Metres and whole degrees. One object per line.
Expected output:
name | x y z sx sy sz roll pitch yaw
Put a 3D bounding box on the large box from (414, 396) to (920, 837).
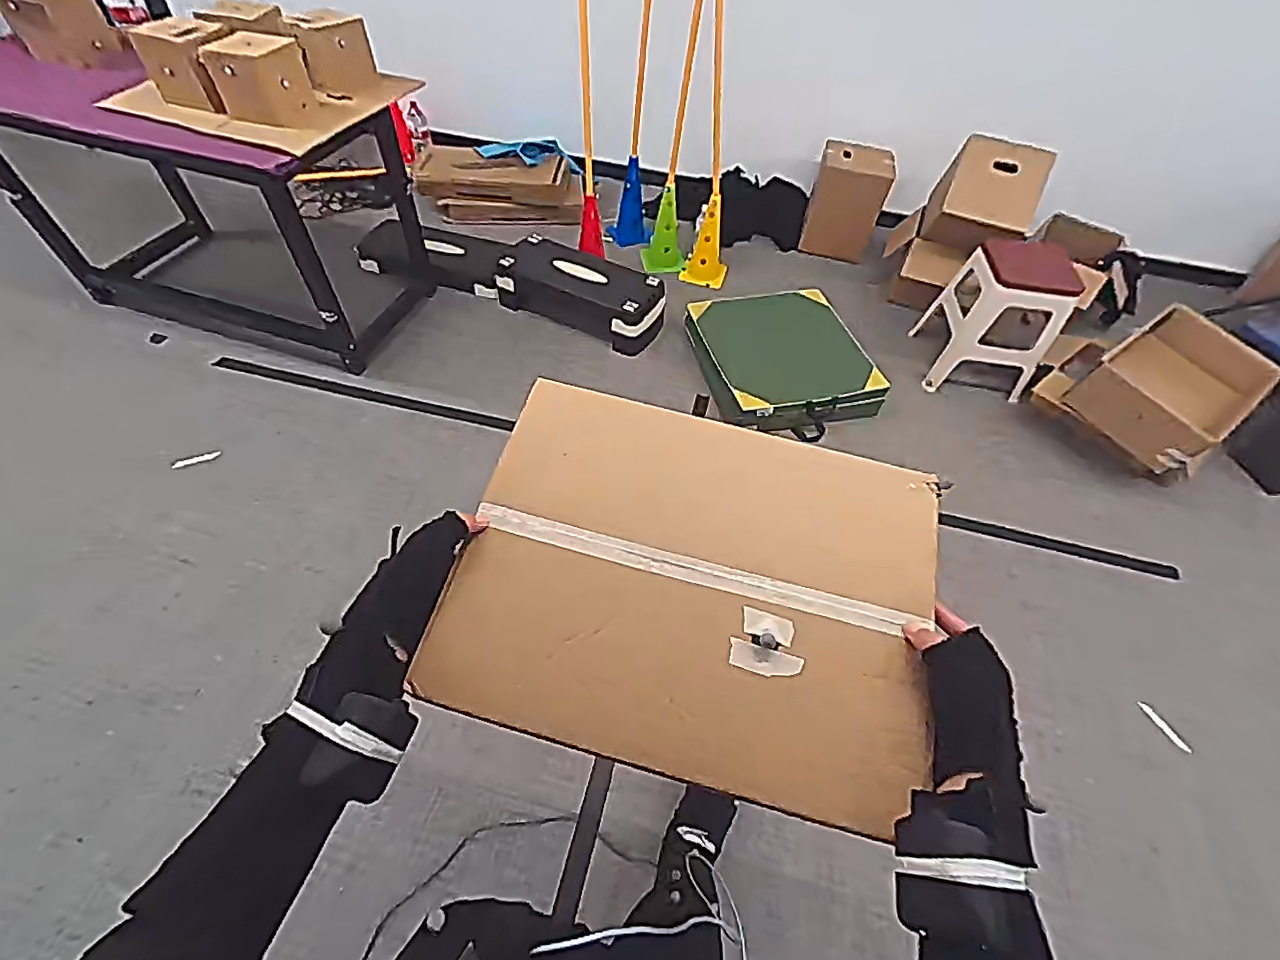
large box | 0.037 0.156 0.612 0.408 0.320 0.320 15 64 4
